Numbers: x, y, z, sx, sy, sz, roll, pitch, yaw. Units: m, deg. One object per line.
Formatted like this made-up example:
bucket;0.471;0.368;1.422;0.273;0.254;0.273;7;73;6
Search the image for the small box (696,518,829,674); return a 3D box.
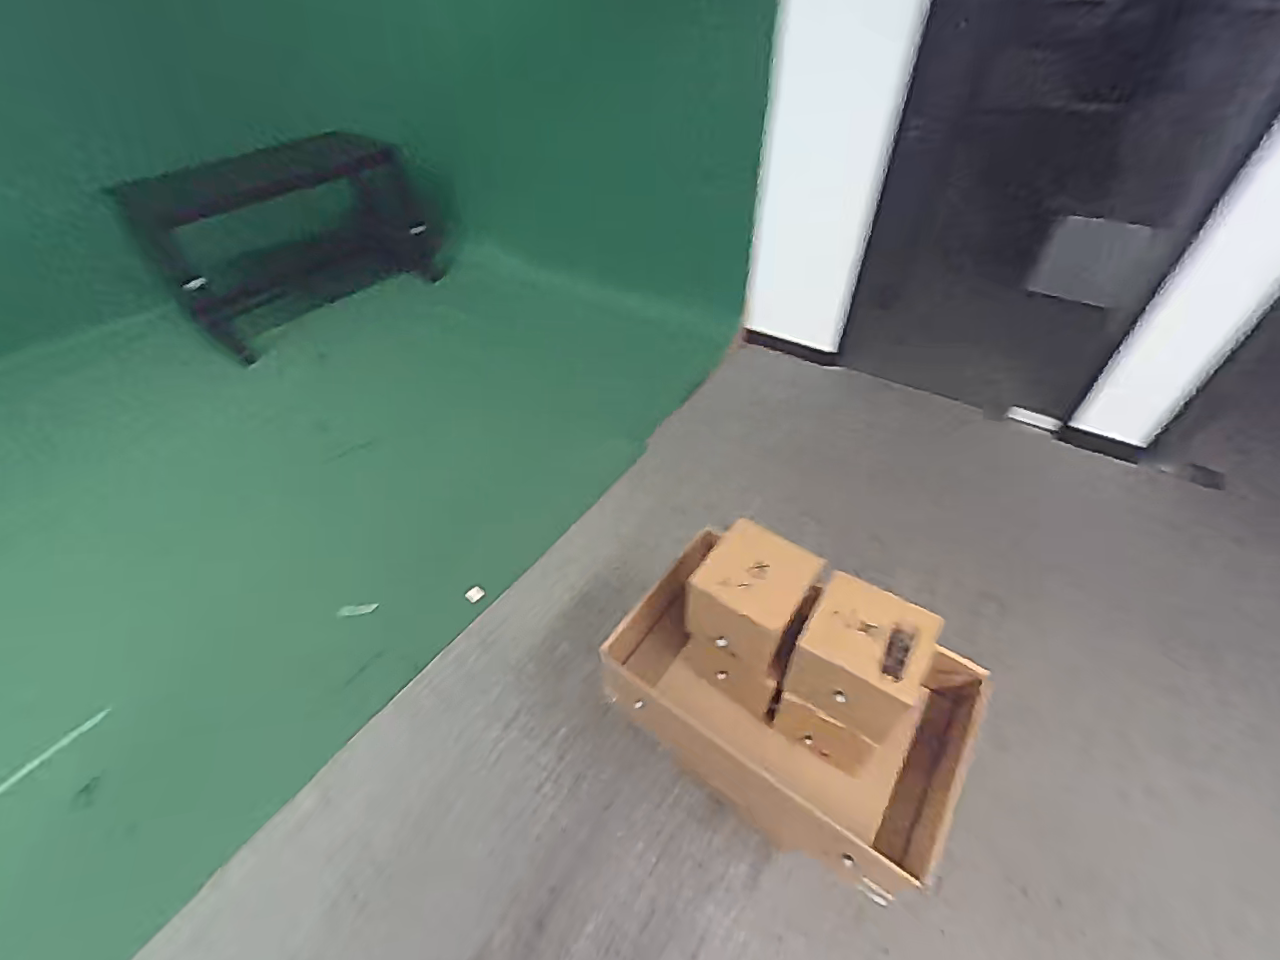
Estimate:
small box;0.210;0.208;0.971;0.168;0.176;0.179;29;54;27
